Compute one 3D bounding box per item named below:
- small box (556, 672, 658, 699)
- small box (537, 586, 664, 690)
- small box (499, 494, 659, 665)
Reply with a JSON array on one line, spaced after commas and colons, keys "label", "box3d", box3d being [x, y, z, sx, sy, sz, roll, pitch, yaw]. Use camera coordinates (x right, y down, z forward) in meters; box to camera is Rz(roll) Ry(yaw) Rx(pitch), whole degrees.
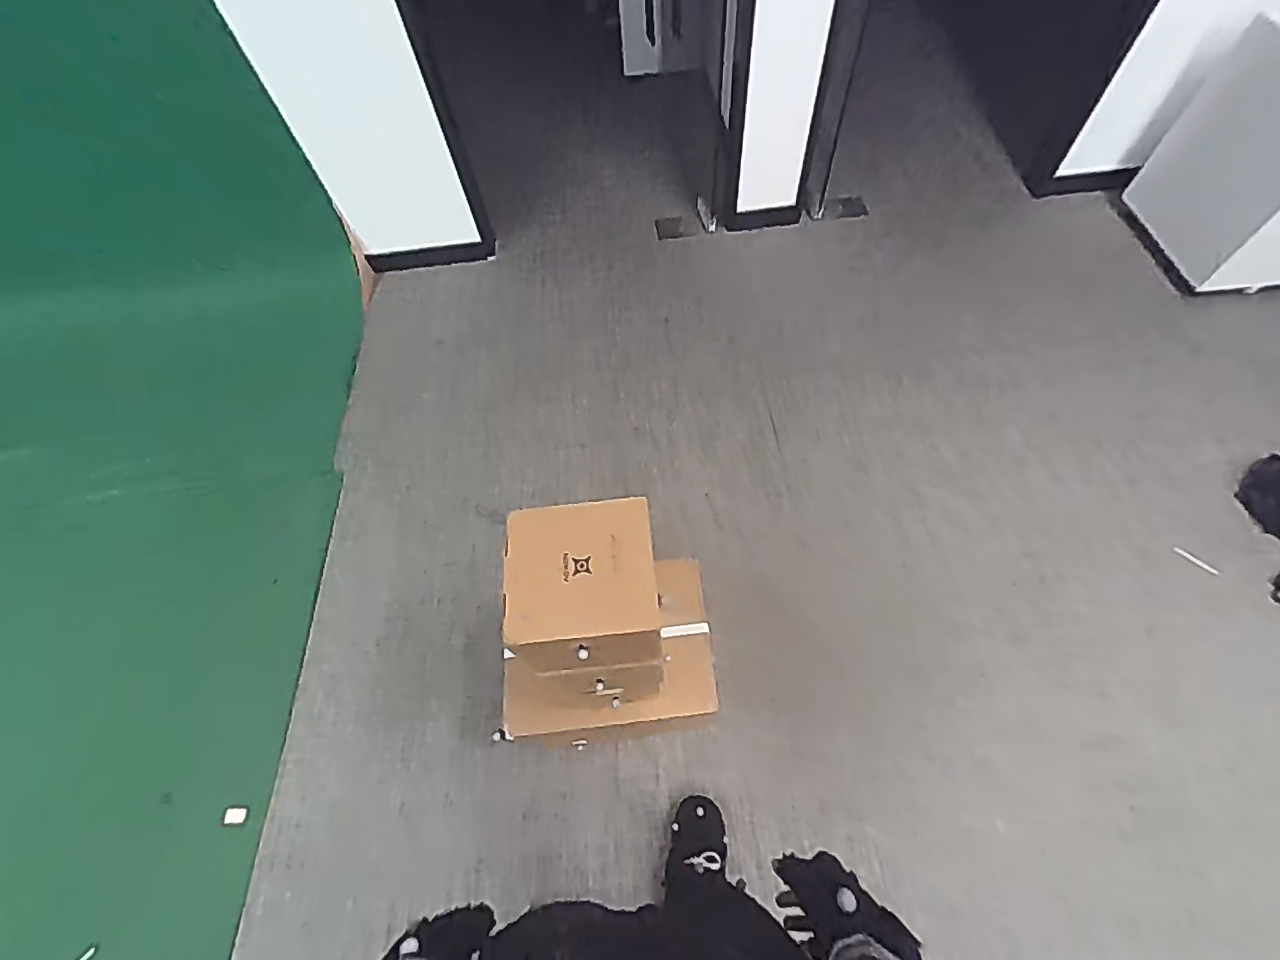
[{"label": "small box", "box3d": [-0.060, 0.294, 0.984, 0.168, 0.176, 0.179, -8, 61, 0]}, {"label": "small box", "box3d": [-0.061, 0.219, 0.837, 0.179, 0.176, 0.168, -9, 61, -2]}, {"label": "small box", "box3d": [-0.071, 0.135, 0.699, 0.179, 0.176, 0.168, -6, 62, 0]}]
